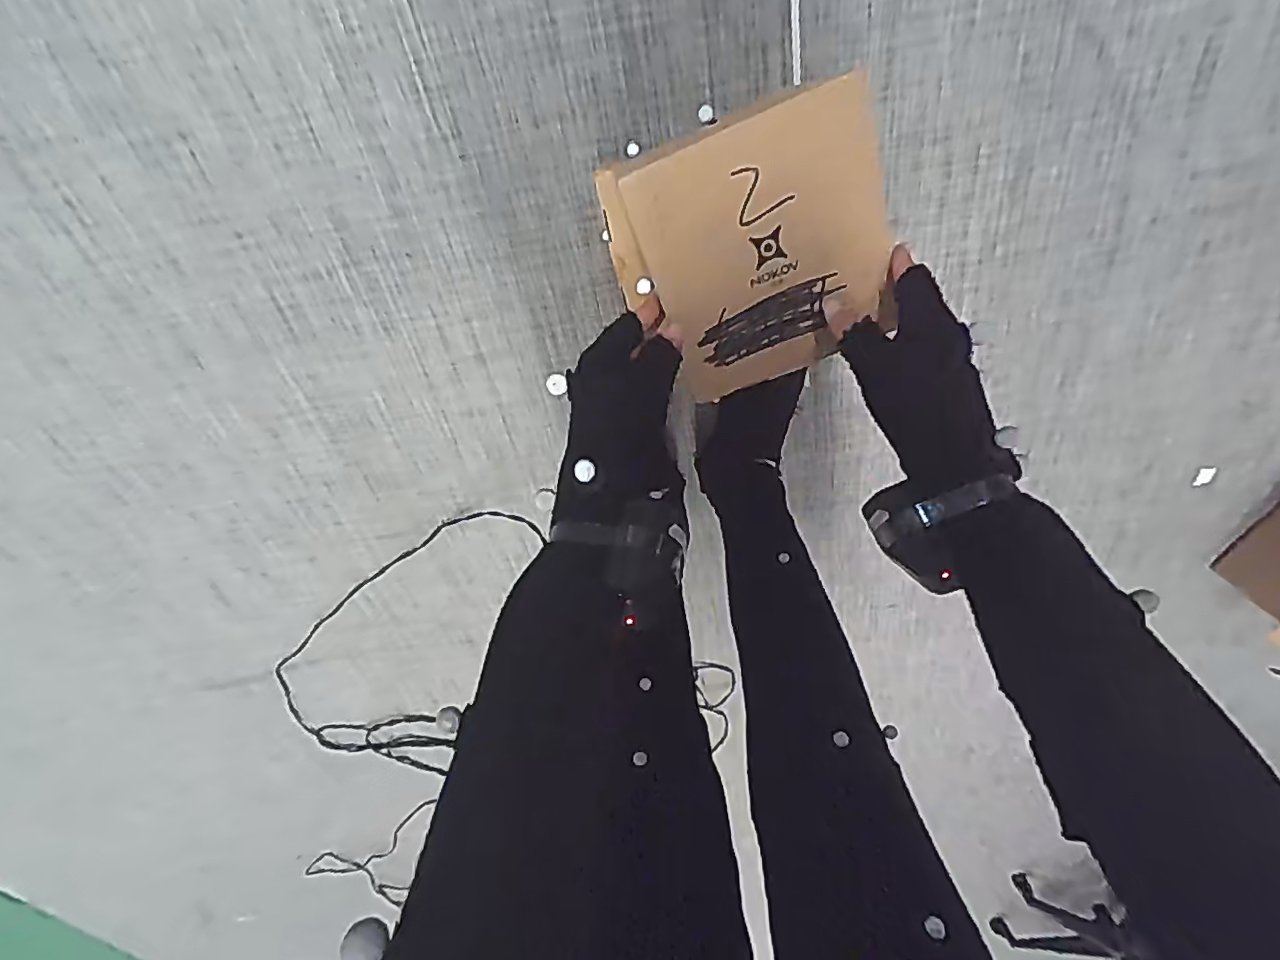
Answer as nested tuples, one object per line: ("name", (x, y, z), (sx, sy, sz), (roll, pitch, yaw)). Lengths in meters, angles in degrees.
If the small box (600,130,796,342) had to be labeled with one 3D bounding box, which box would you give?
("small box", (0.061, -0.274, 0.596), (0.179, 0.176, 0.168), (-11, 122, 7))
